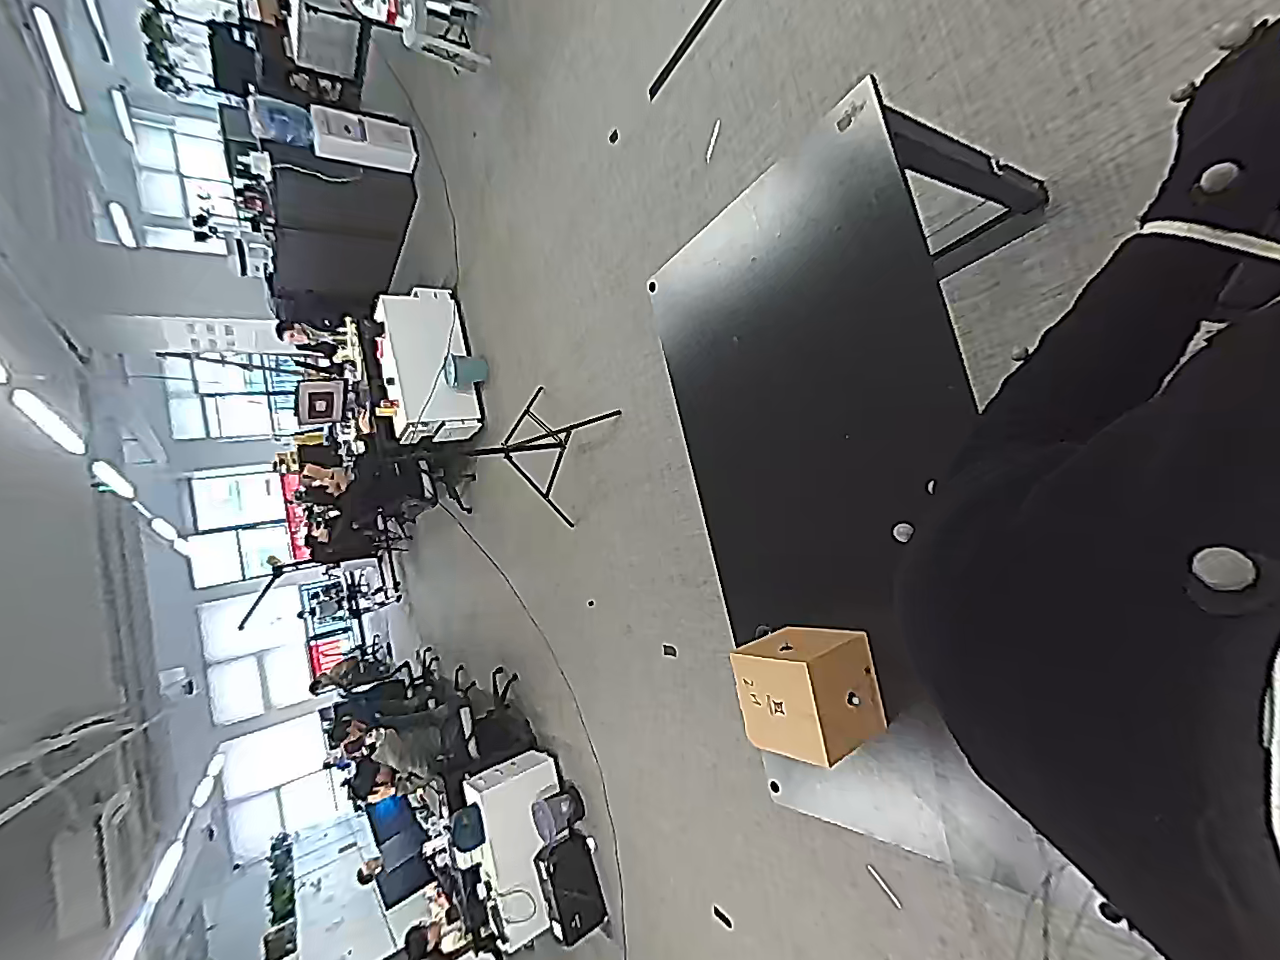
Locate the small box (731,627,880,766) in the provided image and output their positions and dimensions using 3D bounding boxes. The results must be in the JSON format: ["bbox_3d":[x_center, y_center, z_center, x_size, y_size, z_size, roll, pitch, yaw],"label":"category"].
[{"bbox_3d":[0.292,0.361,0.940,0.179,0.176,0.168,-17,82,55],"label":"small box"}]
